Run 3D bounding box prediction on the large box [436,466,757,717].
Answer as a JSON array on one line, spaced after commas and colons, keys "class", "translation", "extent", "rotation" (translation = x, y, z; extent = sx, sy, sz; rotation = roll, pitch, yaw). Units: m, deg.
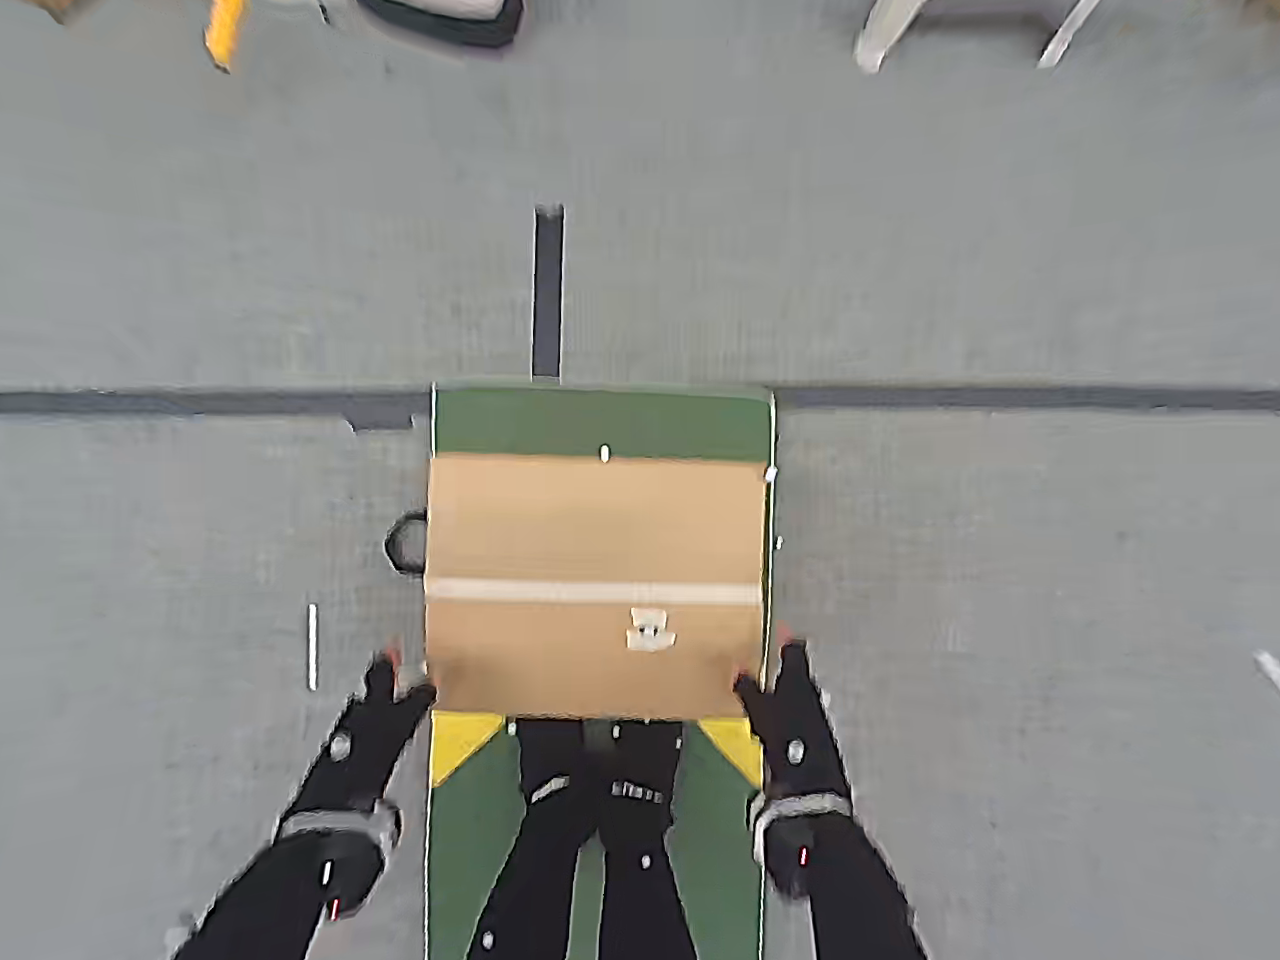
[{"class": "large box", "translation": [-0.059, 0.144, 0.824], "extent": [0.408, 0.320, 0.320], "rotation": [2, 90, -2]}]
